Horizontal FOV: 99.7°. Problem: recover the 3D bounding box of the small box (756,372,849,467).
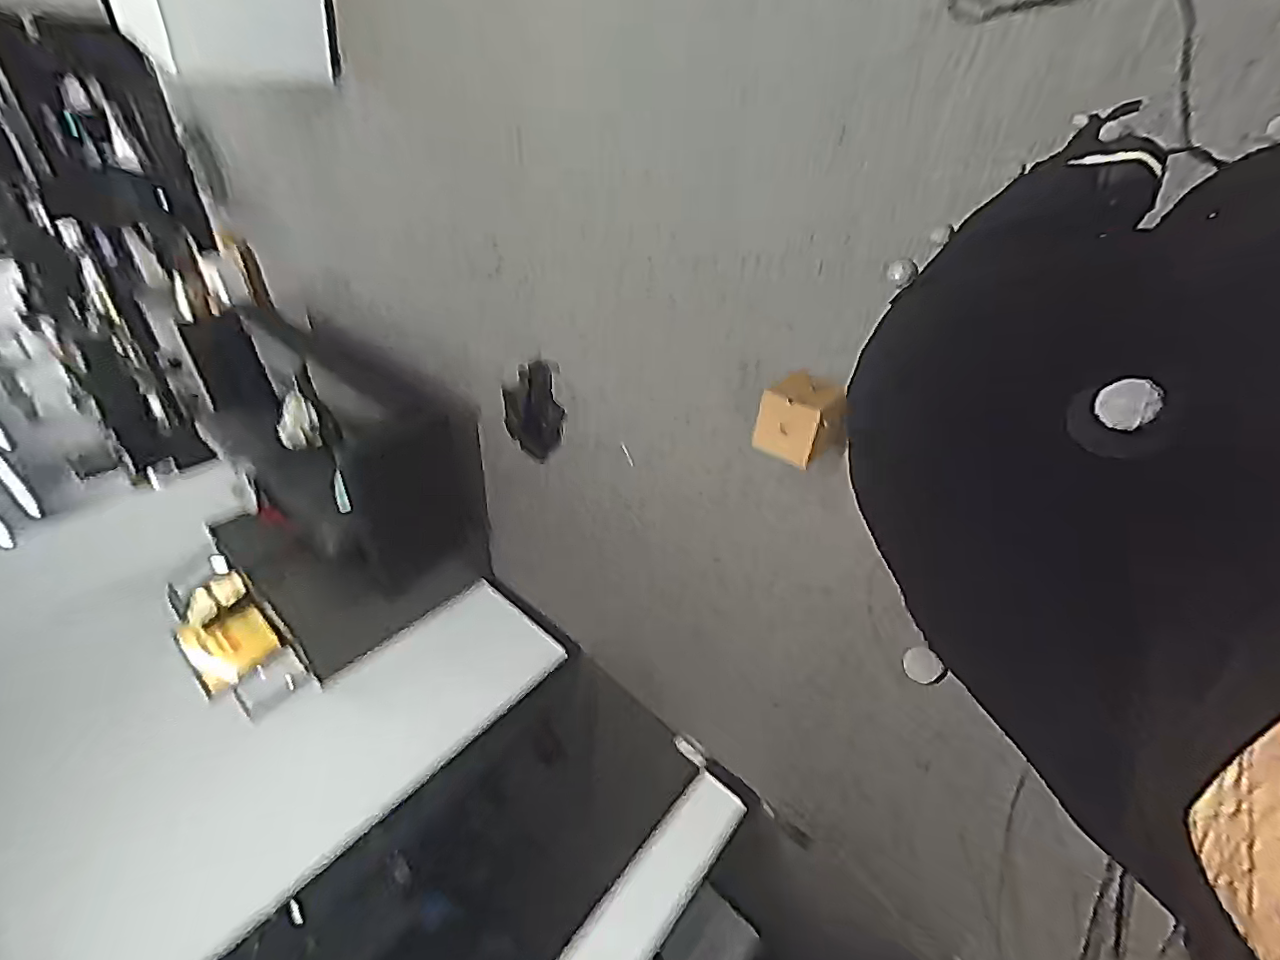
[{"bbox_3d":[0.441,-0.169,1.461,0.168,0.176,0.179,30,133,30],"label":"small box"}]
